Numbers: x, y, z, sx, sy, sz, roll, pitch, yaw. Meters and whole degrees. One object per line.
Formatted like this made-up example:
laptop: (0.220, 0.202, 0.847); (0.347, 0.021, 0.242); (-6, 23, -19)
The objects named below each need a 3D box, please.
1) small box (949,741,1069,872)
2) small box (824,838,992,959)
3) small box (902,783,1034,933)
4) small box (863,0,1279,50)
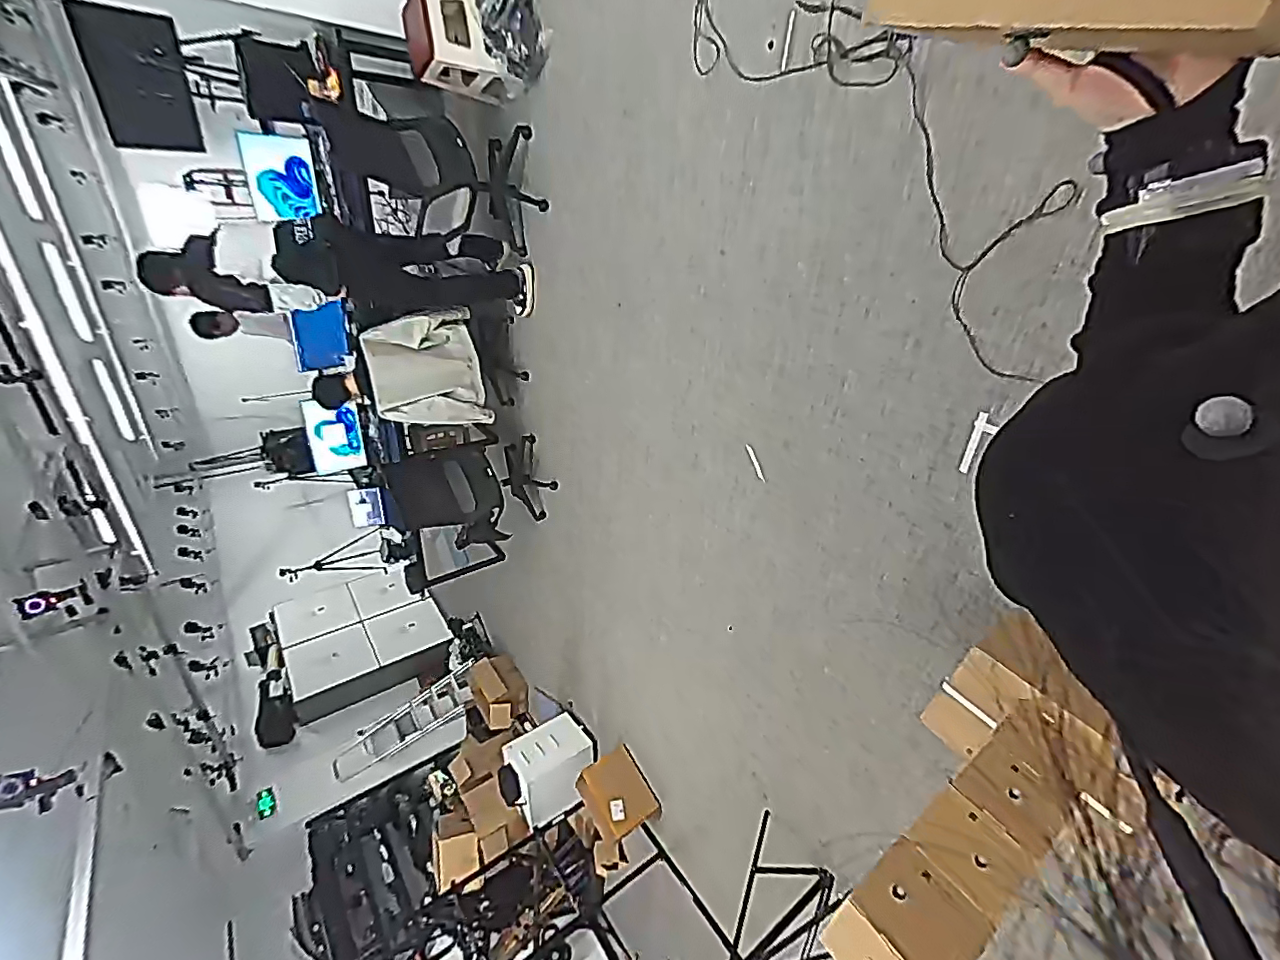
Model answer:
small box: (0.702, 0.661, 1.070); (0.168, 0.176, 0.179); (41, 135, 39)
small box: (0.442, 0.744, 0.894); (0.168, 0.176, 0.179); (39, 136, 41)
small box: (0.571, 0.698, 0.981); (0.168, 0.176, 0.179); (39, 135, 40)
small box: (0.247, -0.314, 0.255); (0.179, 0.176, 0.168); (35, 138, 34)
